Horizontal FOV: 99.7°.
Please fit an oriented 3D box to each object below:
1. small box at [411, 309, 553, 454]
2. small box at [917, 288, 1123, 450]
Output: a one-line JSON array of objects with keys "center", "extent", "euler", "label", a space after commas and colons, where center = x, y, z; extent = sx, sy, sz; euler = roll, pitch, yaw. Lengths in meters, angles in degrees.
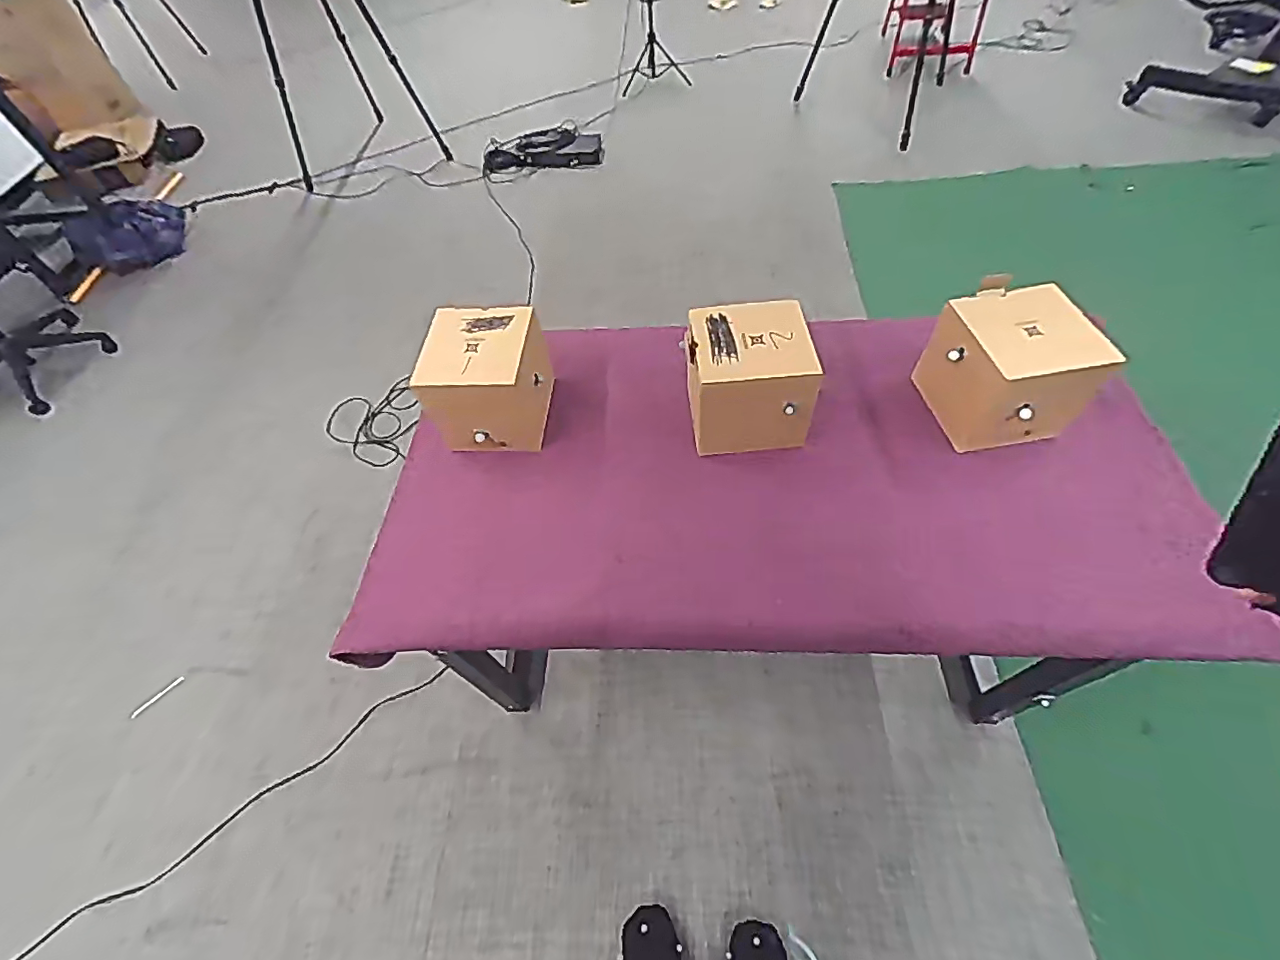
[{"center": [-0.249, -0.164, 0.906], "extent": [0.168, 0.176, 0.179], "euler": [1, 57, 6], "label": "small box"}, {"center": [0.562, -0.161, 0.832], "extent": [0.168, 0.176, 0.179], "euler": [-9, 55, 0], "label": "small box"}]
